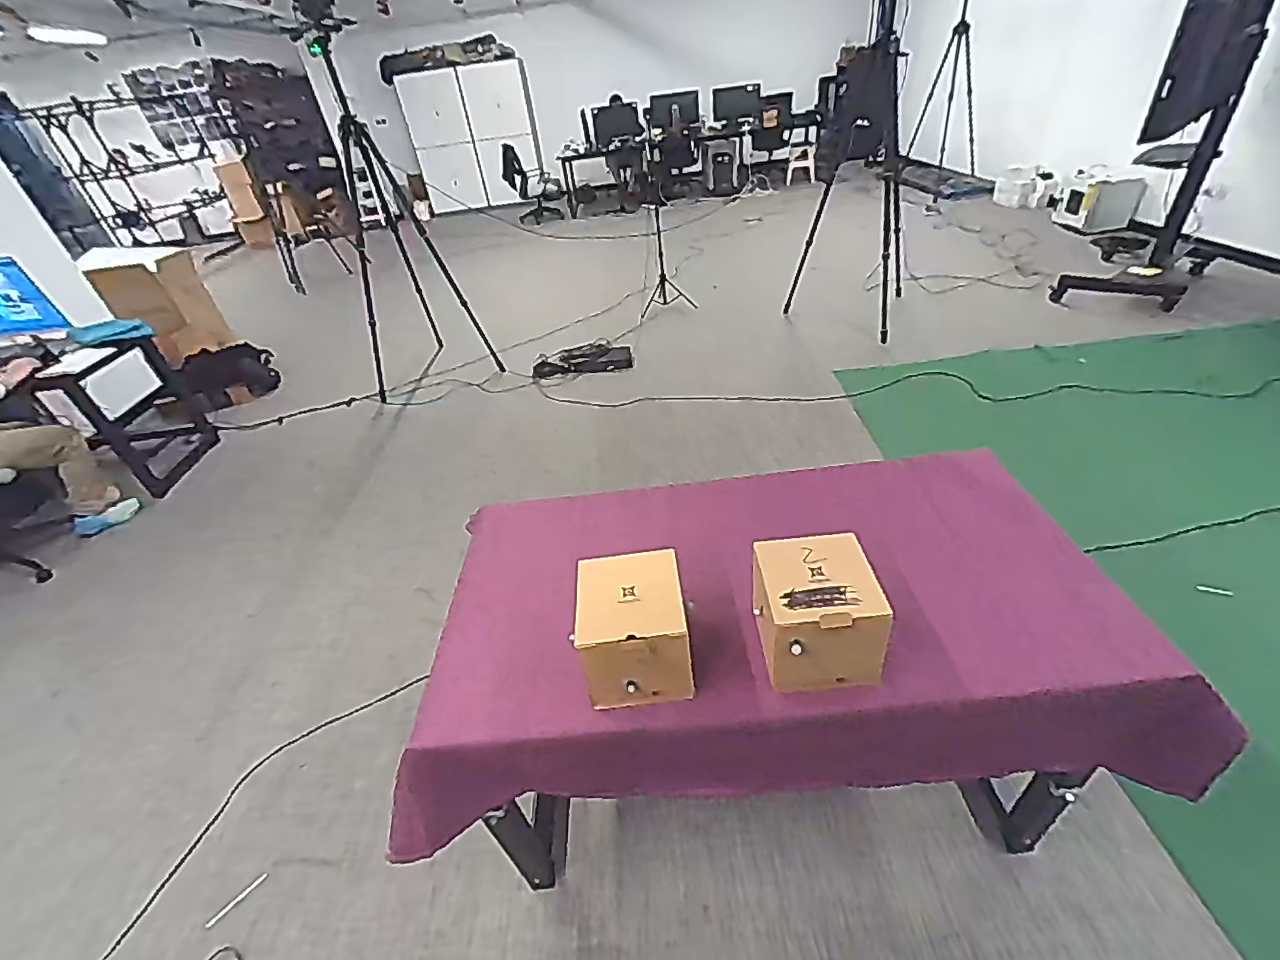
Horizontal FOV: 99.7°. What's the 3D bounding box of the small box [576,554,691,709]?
[{"bbox_3d":[-0.009,0.251,0.903,0.168,0.176,0.179,-8,37,1],"label":"small box"}]
